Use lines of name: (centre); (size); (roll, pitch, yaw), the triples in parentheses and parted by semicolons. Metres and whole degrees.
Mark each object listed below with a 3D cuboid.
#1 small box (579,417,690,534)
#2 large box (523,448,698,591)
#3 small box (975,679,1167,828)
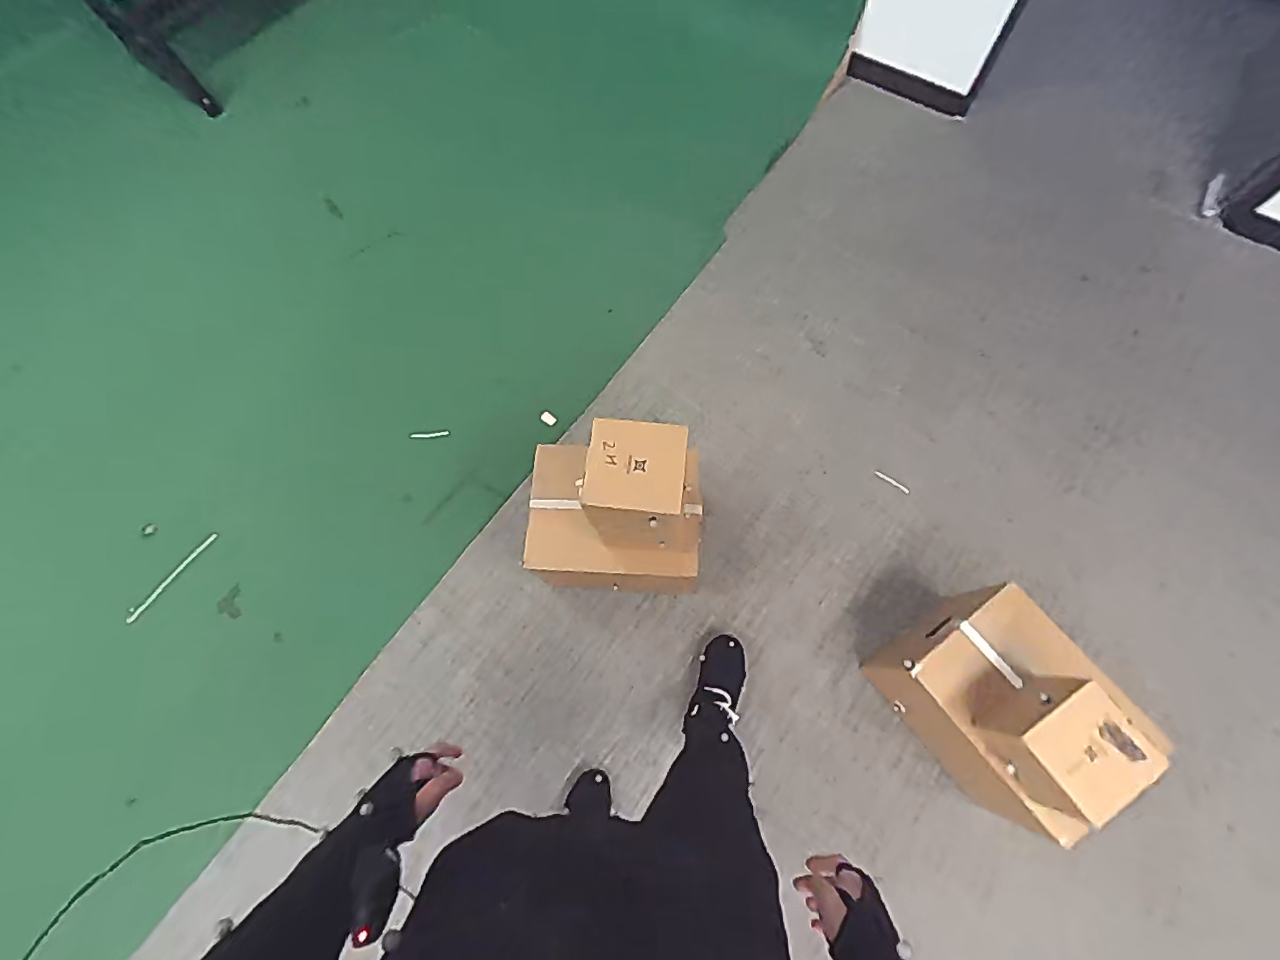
small box: (-0.004, -0.001, 1.014); (0.179, 0.176, 0.168); (6, 71, 5)
large box: (-0.054, 0.116, 1.411); (0.408, 0.320, 0.320); (1, 70, 4)
small box: (0.767, 0.481, 0.986); (0.179, 0.176, 0.168); (-33, 73, -6)
